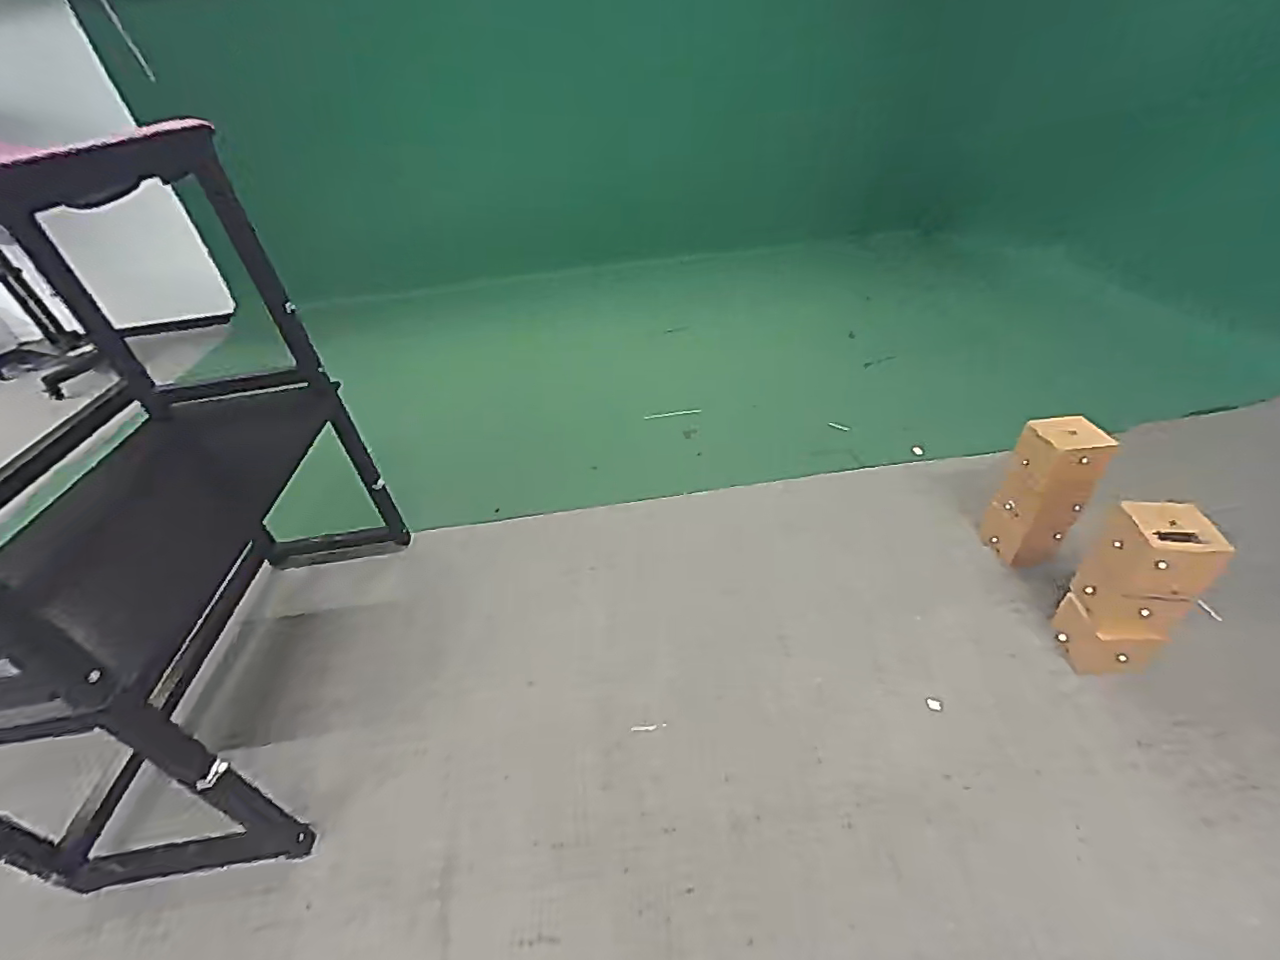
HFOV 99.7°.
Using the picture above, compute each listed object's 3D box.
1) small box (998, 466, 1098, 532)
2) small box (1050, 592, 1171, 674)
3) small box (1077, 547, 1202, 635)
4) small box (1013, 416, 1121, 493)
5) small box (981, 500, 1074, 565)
[{"bbox_3d":[1.330,0.049,1.778,0.179,0.176,0.168,-10,38,-4],"label":"small box"},{"bbox_3d":[1.333,0.440,1.549,0.179,0.176,0.168,-2,38,7],"label":"small box"},{"bbox_3d":[1.329,0.300,1.462,0.179,0.176,0.168,1,39,10],"label":"small box"},{"bbox_3d":[1.312,-0.077,1.677,0.179,0.176,0.168,-6,38,1],"label":"small box"},{"bbox_3d":[1.339,0.172,1.882,0.179,0.176,0.168,-10,38,-5],"label":"small box"}]
